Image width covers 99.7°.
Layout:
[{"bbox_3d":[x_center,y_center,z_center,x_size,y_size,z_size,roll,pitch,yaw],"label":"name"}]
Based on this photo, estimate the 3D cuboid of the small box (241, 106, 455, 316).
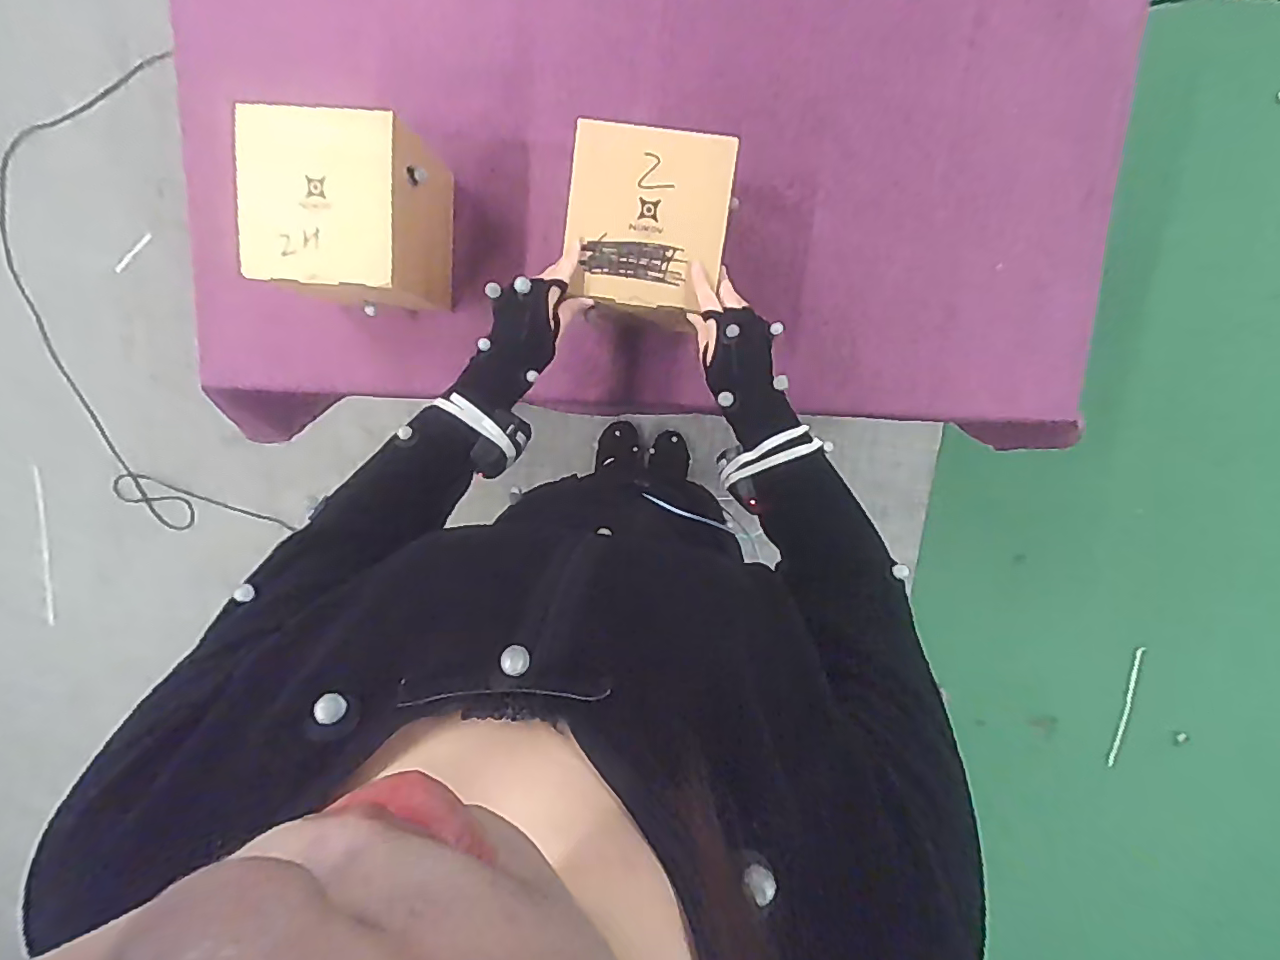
[{"bbox_3d":[-0.332,-0.303,0.643,0.168,0.176,0.179,4,98,2],"label":"small box"}]
